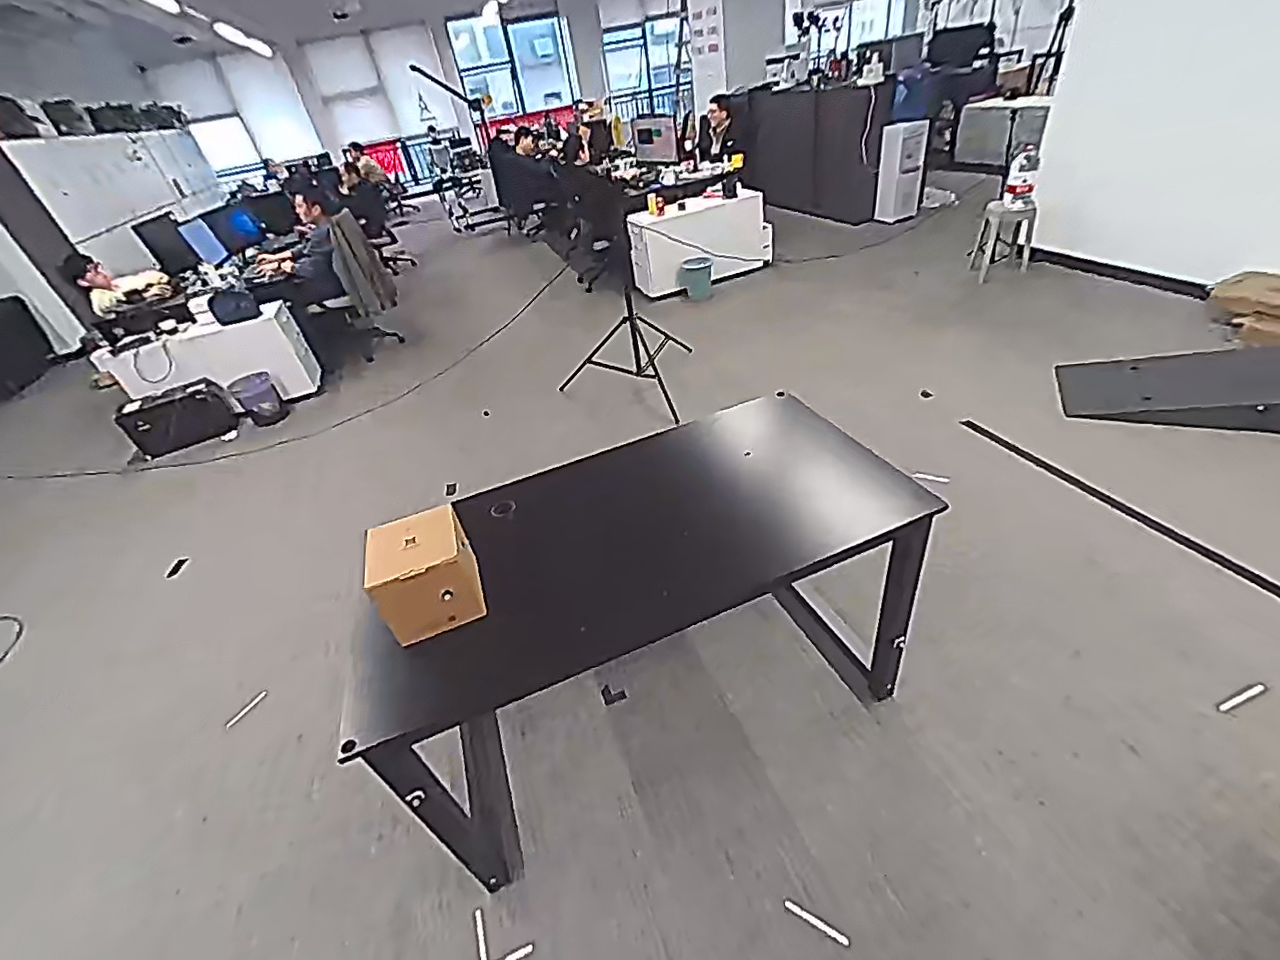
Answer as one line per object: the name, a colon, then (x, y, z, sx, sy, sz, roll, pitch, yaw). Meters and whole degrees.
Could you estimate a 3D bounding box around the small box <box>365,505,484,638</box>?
small box: (-0.417, 0.184, 1.061, 0.168, 0.176, 0.179, -19, 36, -13)
